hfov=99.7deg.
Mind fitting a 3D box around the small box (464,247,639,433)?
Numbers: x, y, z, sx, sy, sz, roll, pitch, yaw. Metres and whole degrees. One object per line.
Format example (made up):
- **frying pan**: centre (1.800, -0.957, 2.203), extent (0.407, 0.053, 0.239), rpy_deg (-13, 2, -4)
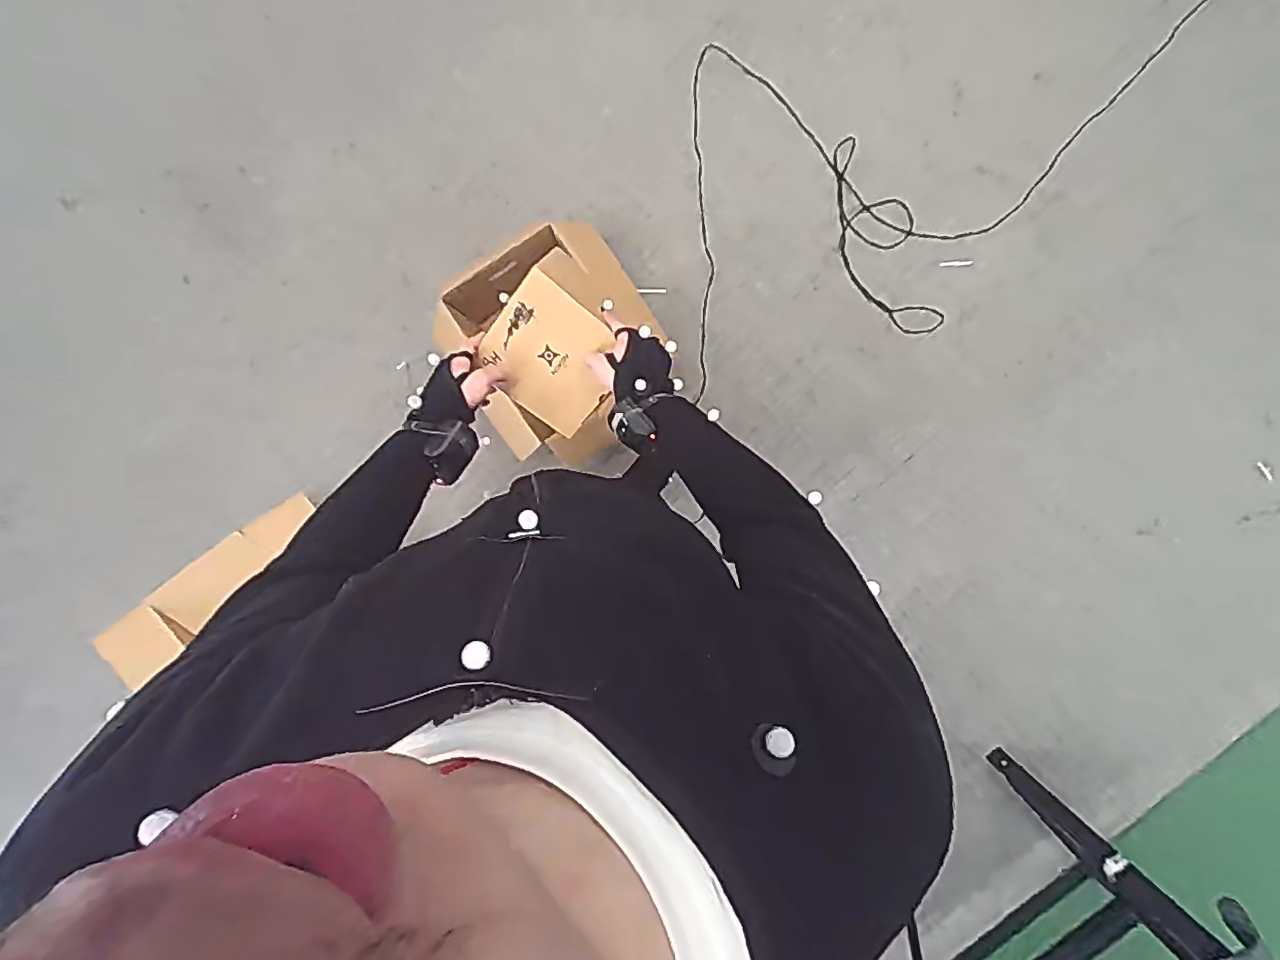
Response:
- **small box**: centre (-0.113, -0.207, 0.775), extent (0.179, 0.176, 0.168), rpy_deg (38, 116, -19)
